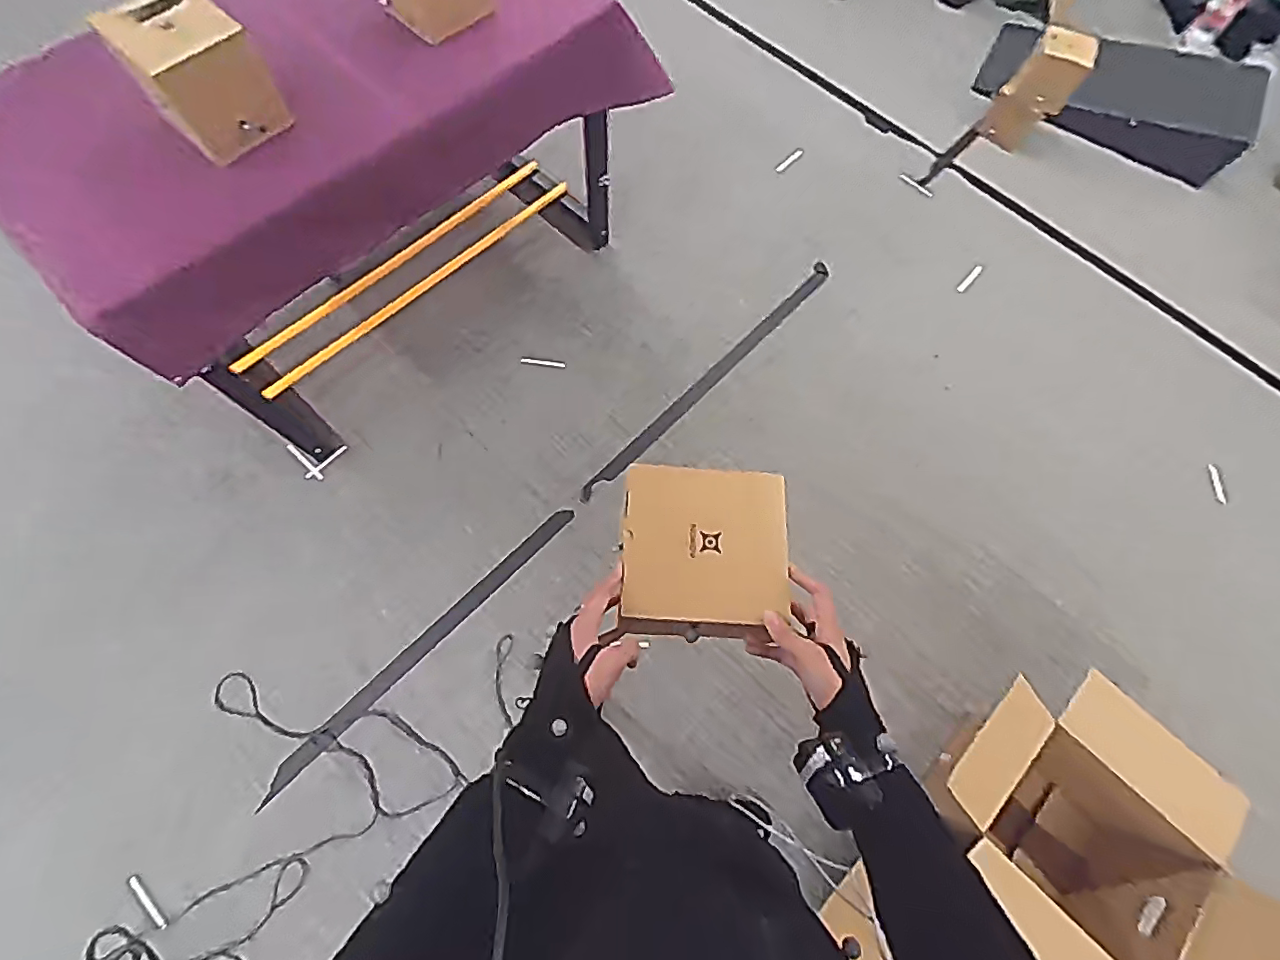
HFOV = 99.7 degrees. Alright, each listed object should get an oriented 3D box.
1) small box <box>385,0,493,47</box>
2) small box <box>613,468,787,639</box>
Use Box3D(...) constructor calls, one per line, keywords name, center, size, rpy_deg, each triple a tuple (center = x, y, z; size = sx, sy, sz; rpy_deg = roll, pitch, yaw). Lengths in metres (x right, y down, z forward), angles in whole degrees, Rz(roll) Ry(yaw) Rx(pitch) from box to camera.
Box3D(name="small box", center=(-0.423, -1.027, 1.087), size=(0.168, 0.176, 0.179), rpy_deg=(42, 73, 11))
Box3D(name="small box", center=(0.060, 0.095, 0.639), size=(0.179, 0.176, 0.168), rpy_deg=(3, 69, -1))
